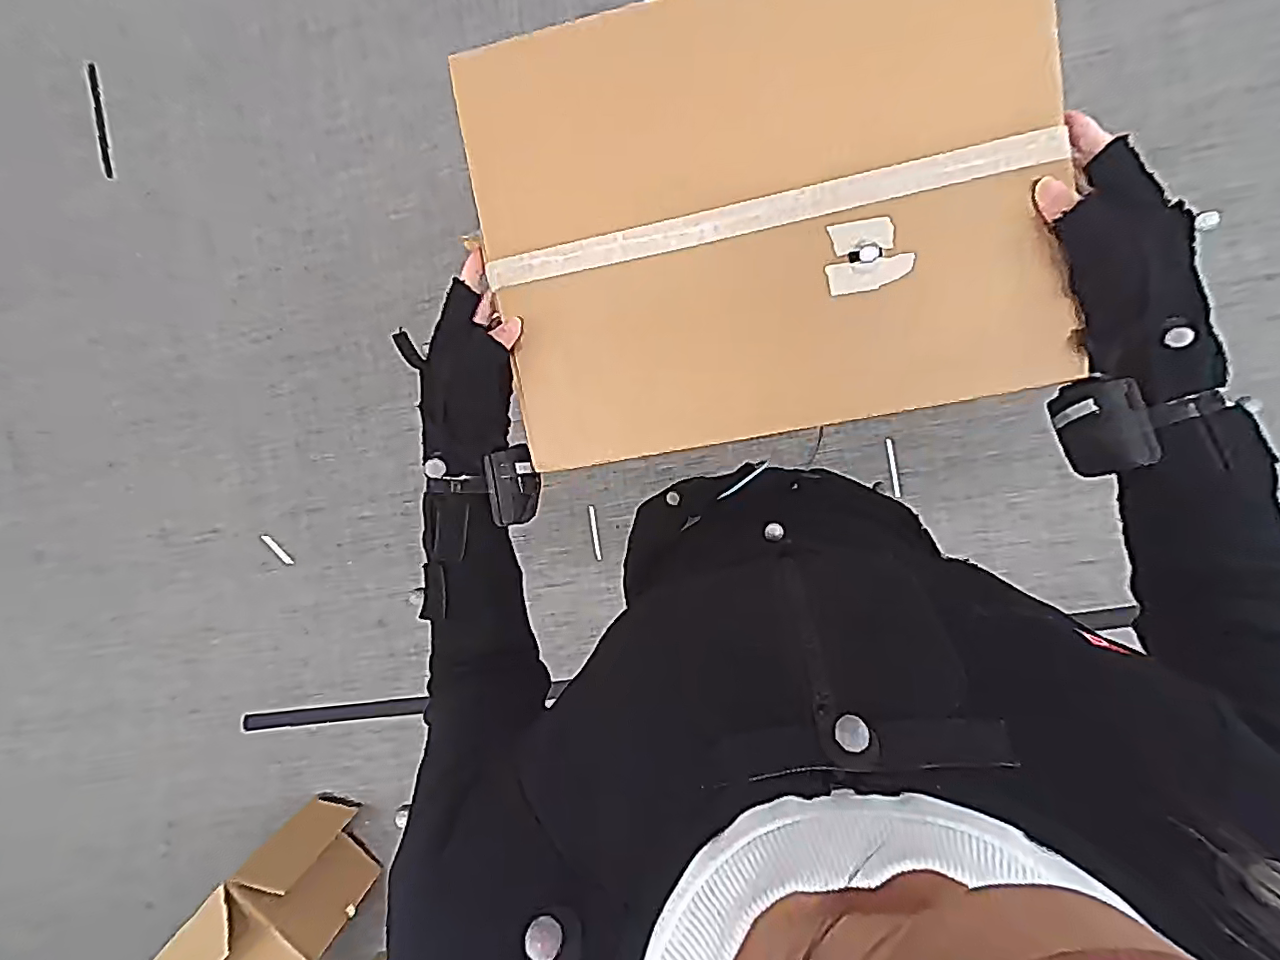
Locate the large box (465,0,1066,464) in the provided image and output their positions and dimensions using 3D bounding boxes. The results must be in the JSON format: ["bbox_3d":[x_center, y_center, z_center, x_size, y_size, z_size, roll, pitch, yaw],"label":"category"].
[{"bbox_3d":[0.101,-0.215,0.546,0.408,0.320,0.320,-10,97,7],"label":"large box"}]
